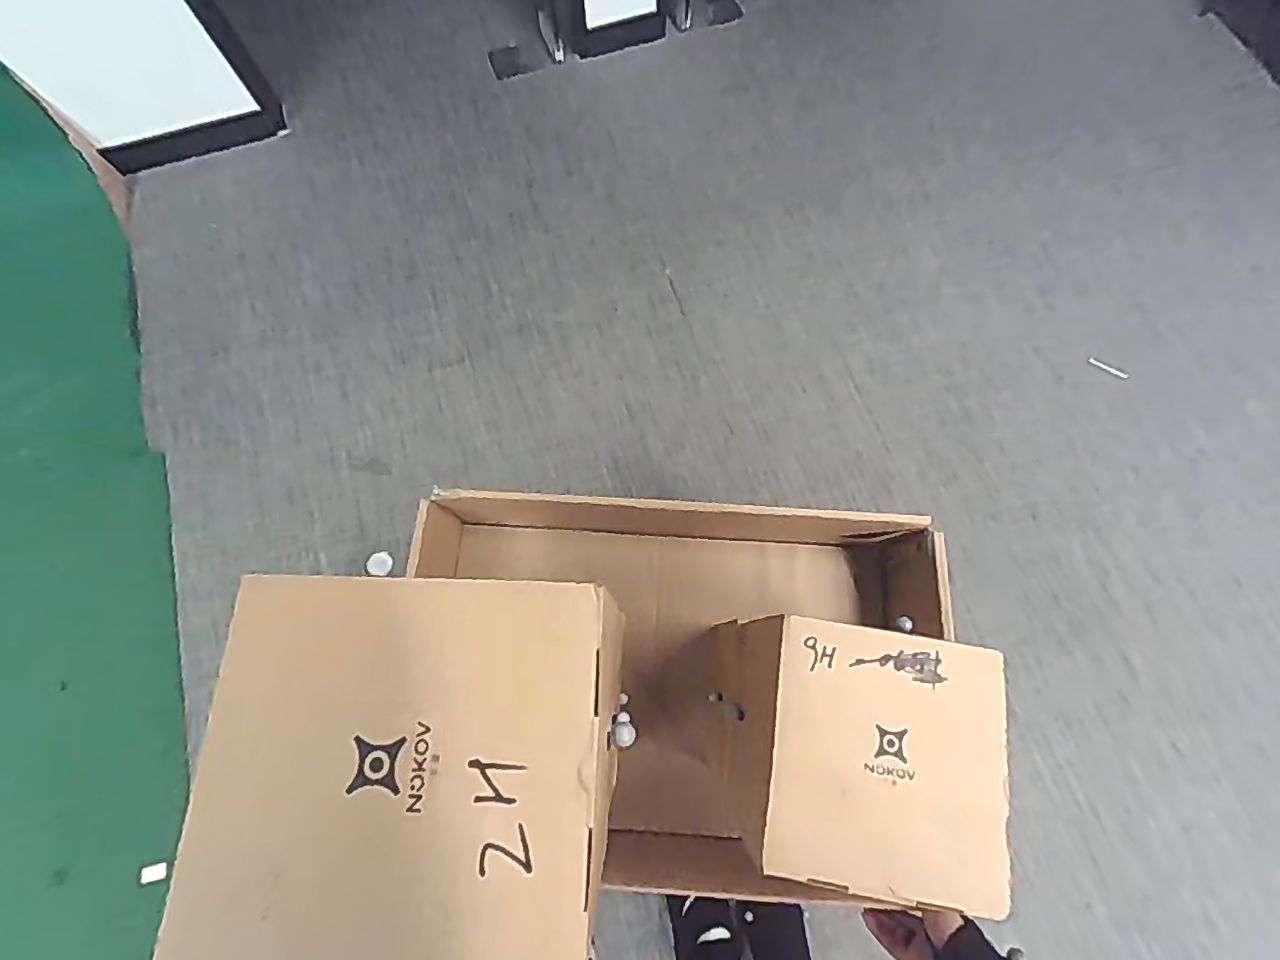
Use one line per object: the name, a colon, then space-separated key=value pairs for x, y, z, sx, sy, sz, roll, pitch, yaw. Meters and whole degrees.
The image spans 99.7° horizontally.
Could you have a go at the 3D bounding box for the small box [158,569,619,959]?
small box: x=-0.106 y=0.147 z=0.315 sx=0.179 sy=0.176 sz=0.168 roll=2 pitch=74 yaw=-1
